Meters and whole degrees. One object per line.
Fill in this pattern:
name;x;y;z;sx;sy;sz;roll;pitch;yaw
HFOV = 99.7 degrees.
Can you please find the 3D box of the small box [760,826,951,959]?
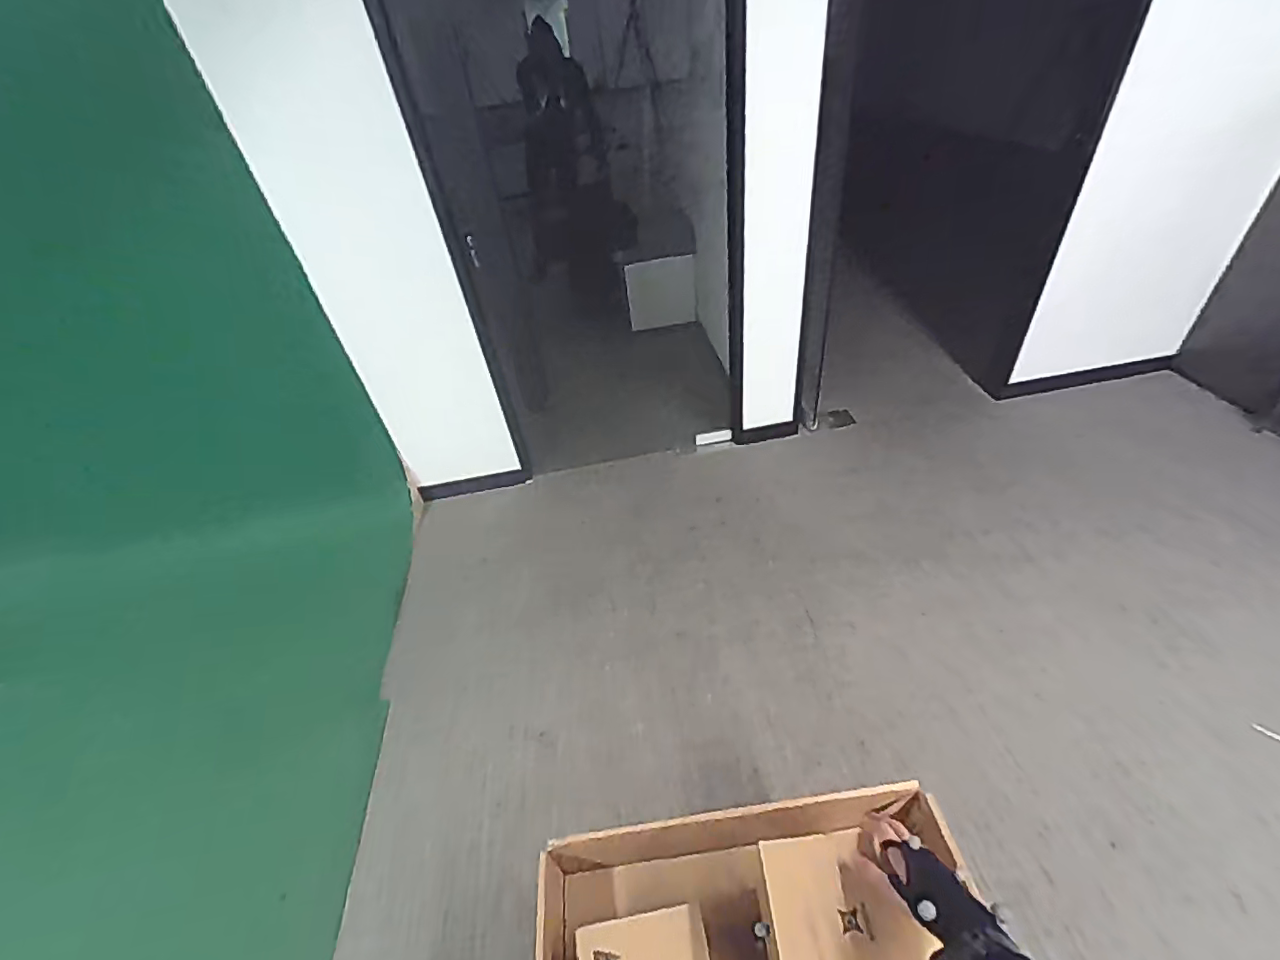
small box;0.243;0.532;0.641;0.179;0.176;0.168;-8;42;5
